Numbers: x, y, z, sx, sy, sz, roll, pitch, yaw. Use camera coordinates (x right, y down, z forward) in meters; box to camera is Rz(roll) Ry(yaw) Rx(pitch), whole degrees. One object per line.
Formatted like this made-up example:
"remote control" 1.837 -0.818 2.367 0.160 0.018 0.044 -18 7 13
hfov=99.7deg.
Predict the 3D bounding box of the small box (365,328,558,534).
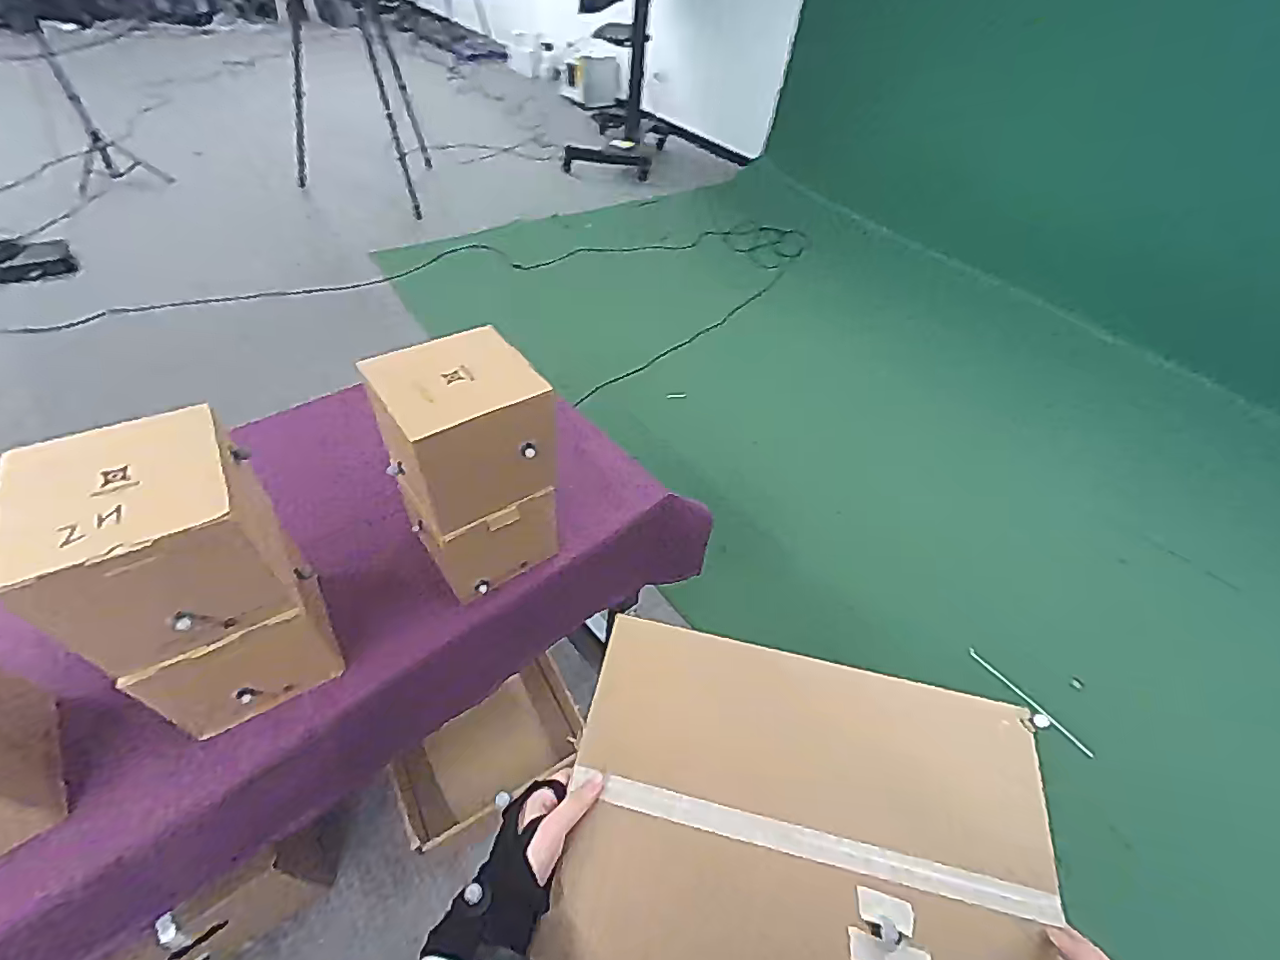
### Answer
"small box" -0.221 -0.064 0.702 0.179 0.176 0.168 -27 55 -27

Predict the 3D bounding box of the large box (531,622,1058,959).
"large box" 0.133 0.388 0.582 0.408 0.320 0.320 11 56 7

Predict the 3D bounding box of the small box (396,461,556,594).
"small box" -0.238 0.048 0.819 0.168 0.176 0.179 -27 56 -28

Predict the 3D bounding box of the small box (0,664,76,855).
"small box" -0.725 0.298 0.530 0.179 0.176 0.168 -28 58 -27

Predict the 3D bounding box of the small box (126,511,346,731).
"small box" -0.495 0.174 0.675 0.168 0.176 0.179 -23 56 -25

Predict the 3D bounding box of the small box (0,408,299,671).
"small box" -0.482 0.060 0.557 0.168 0.176 0.179 -22 55 -24
